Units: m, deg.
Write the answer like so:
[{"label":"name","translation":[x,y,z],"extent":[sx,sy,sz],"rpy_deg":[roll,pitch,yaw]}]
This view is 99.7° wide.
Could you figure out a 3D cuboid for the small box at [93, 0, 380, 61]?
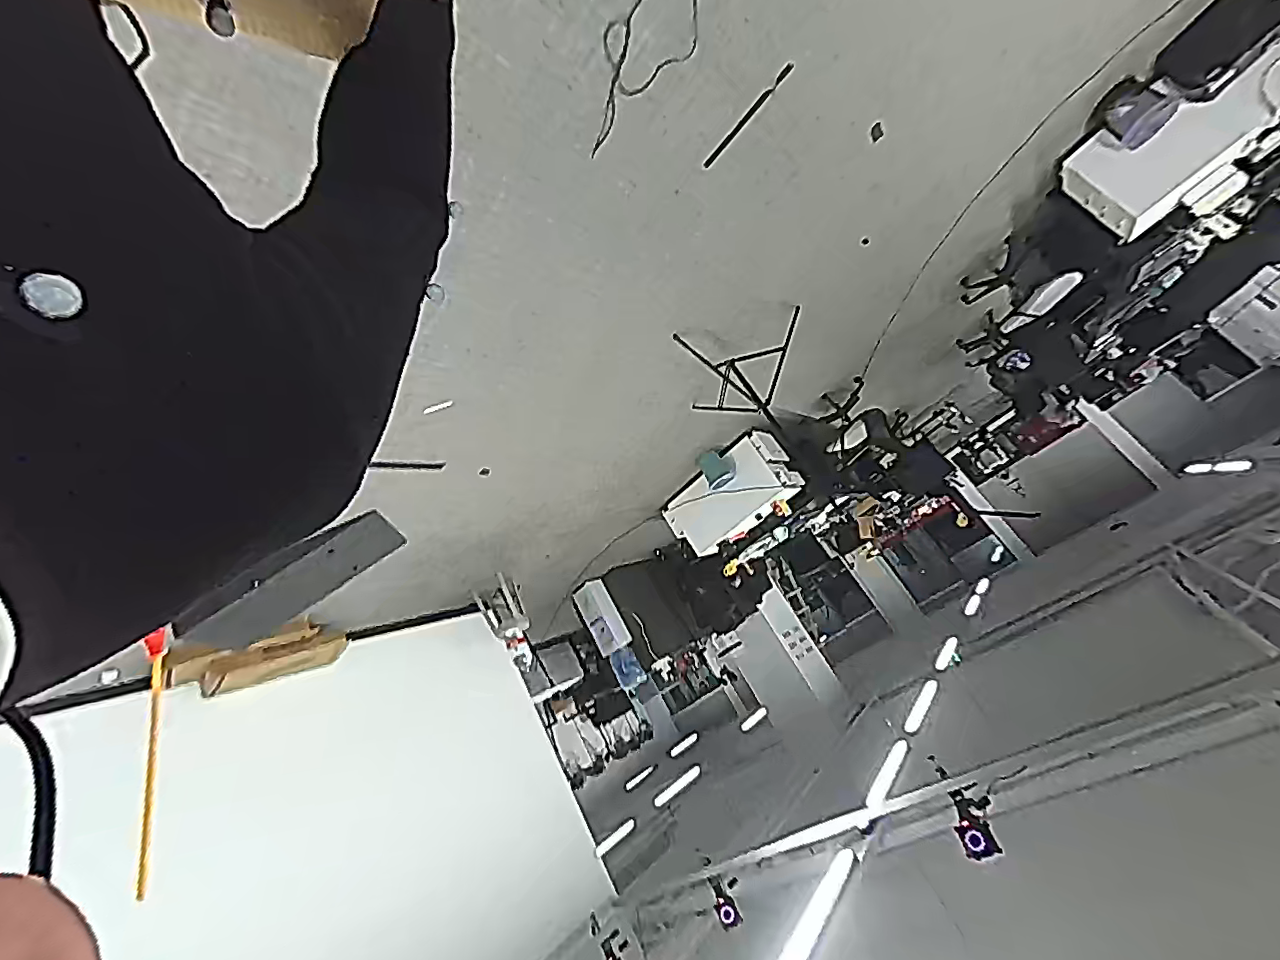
[{"label":"small box","translation":[-0.256,-0.384,0.313],"extent":[0.179,0.176,0.168],"rpy_deg":[-7,106,-33]}]
